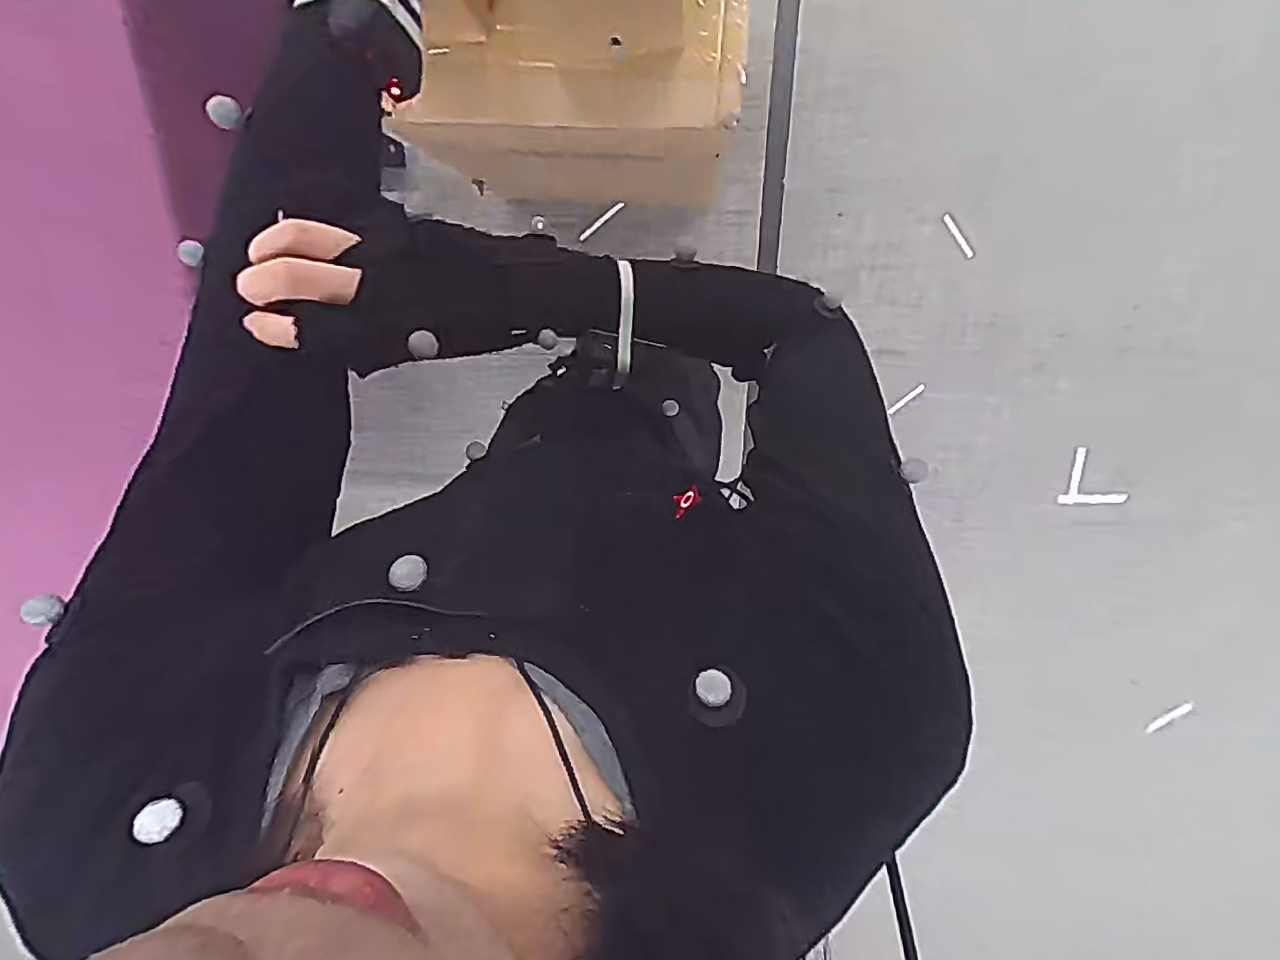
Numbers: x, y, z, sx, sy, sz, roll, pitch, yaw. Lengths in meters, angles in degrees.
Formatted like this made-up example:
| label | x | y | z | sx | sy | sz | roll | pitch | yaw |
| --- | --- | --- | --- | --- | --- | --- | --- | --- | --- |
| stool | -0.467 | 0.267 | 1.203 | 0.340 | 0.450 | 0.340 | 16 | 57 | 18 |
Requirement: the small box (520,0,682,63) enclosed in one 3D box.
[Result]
| label | x | y | z | sx | sy | sz | roll | pitch | yaw |
| --- | --- | --- | --- | --- | --- | --- | --- | --- | --- |
| small box | -0.042 | -0.608 | 0.610 | 0.179 | 0.176 | 0.168 | -3 | 108 | 6 |
